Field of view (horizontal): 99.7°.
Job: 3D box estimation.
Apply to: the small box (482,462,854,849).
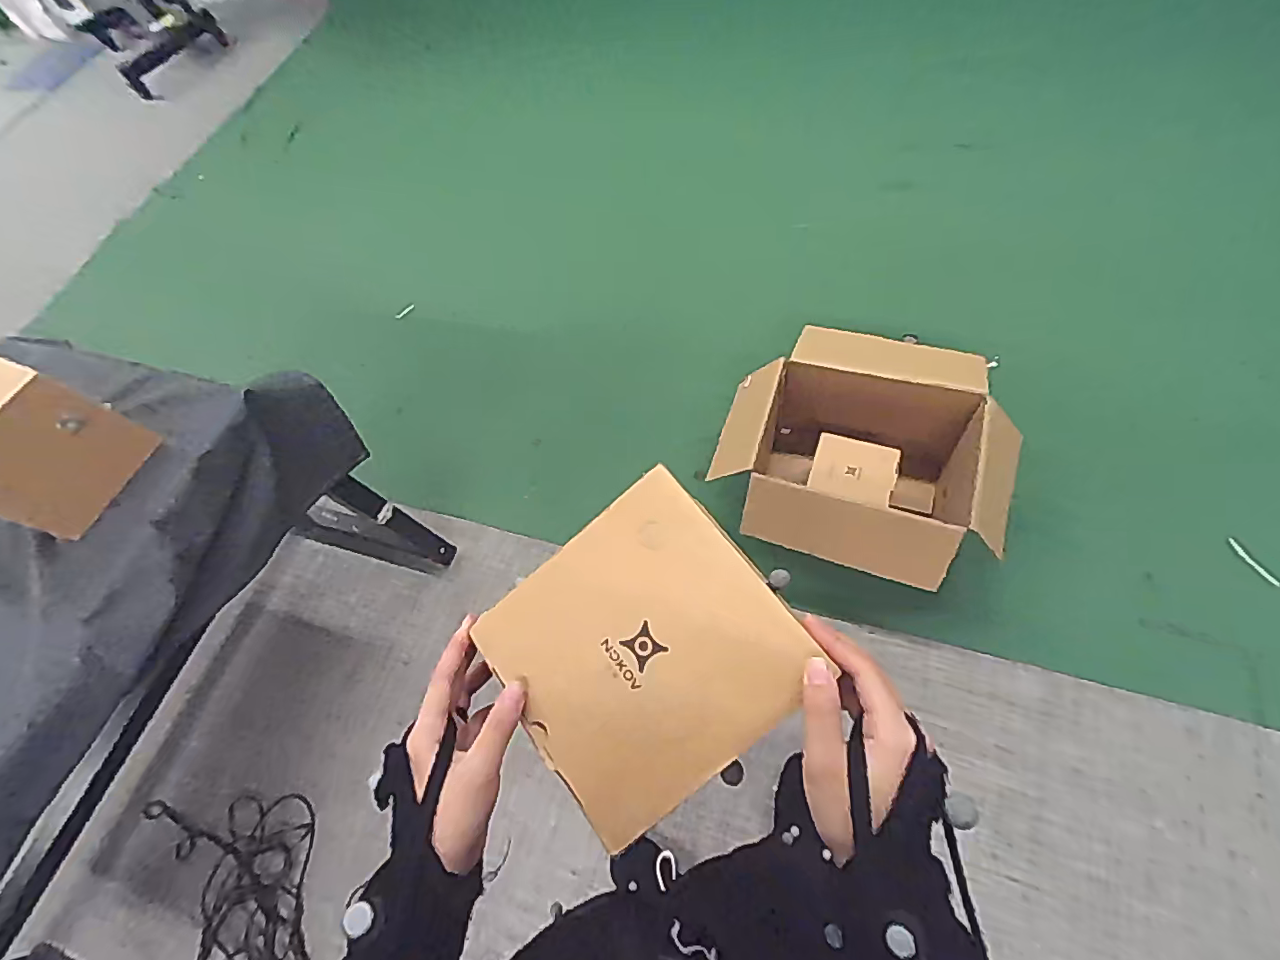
[{"bbox_3d":[0.026,0.114,0.407,0.179,0.176,0.168,-41,73,4],"label":"small box"}]
